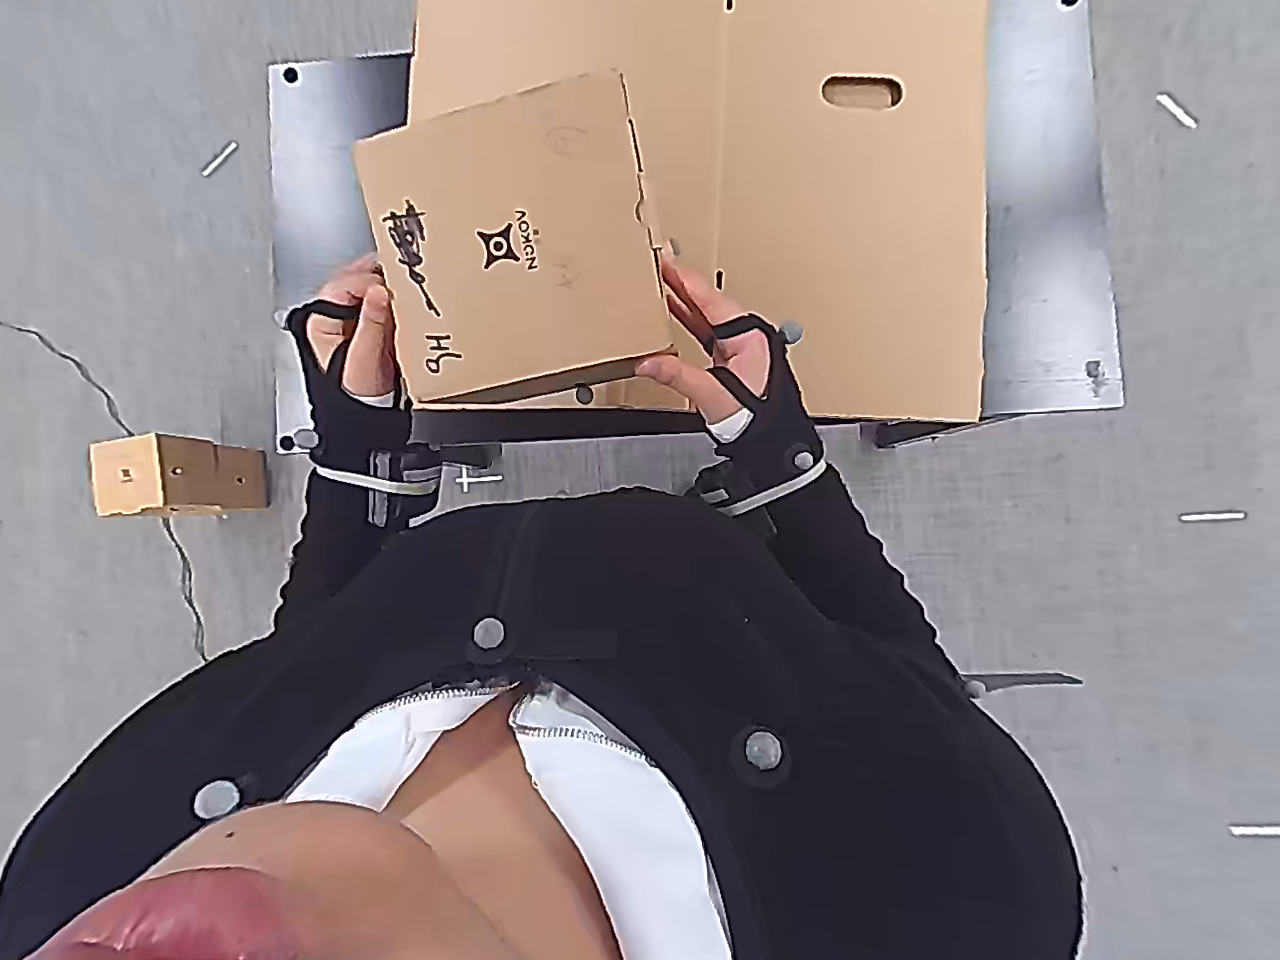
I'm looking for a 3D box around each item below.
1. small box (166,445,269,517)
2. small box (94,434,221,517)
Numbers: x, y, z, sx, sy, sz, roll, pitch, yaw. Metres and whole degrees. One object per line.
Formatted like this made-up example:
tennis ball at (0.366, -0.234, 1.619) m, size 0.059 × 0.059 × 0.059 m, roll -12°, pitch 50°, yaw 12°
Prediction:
small box at (-1.171, 0.006, 1.500) m, size 0.168 × 0.176 × 0.179 m, roll -7°, pitch 88°, yaw 3°
small box at (-1.182, -0.007, 1.337) m, size 0.168 × 0.176 × 0.179 m, roll -10°, pitch 86°, yaw 2°
